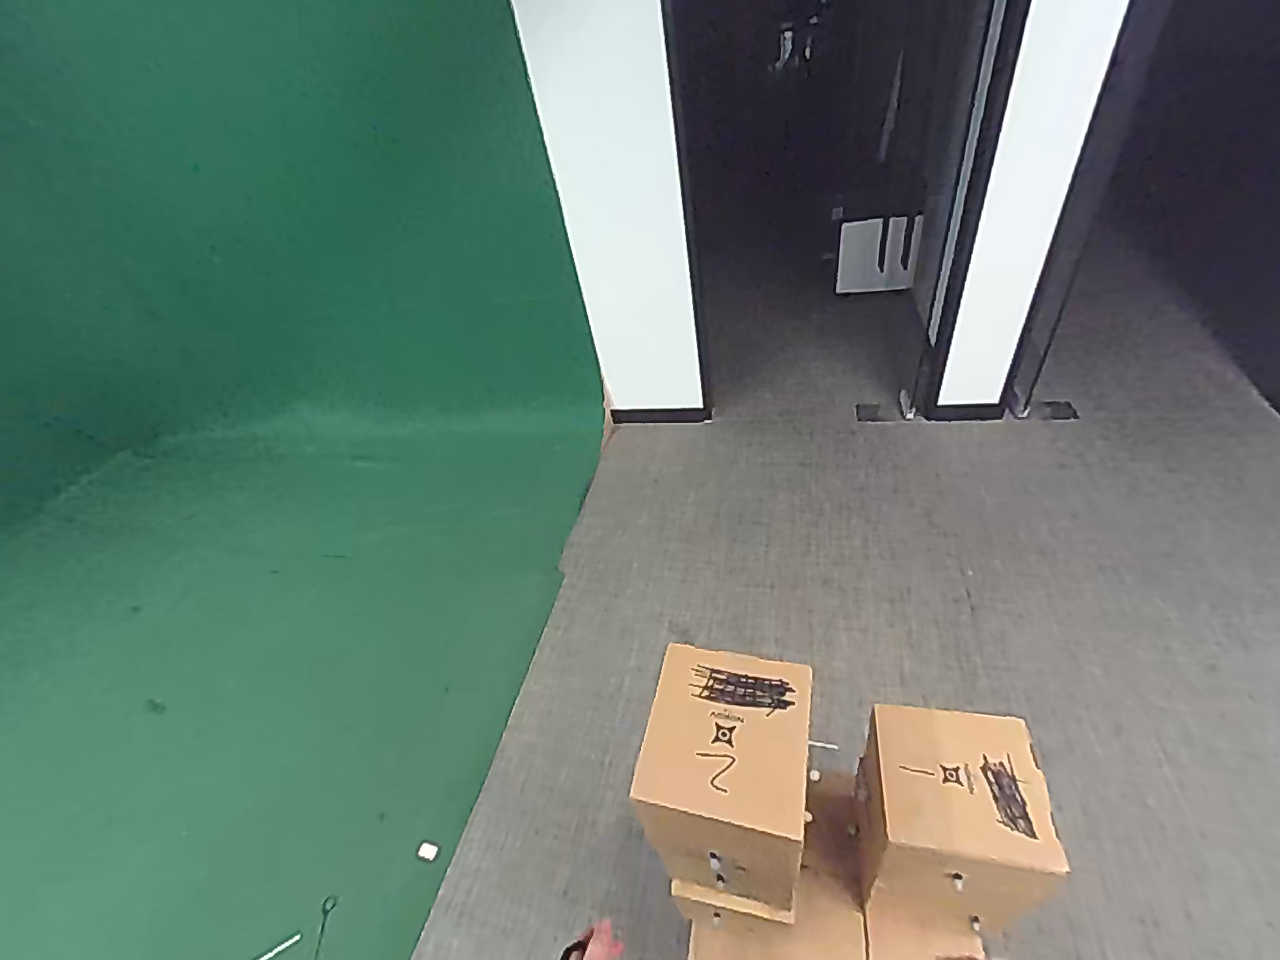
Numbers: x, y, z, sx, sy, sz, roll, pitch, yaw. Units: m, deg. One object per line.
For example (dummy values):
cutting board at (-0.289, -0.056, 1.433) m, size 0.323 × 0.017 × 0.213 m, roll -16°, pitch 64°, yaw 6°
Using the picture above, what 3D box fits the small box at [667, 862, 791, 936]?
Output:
small box at (0.147, 0.562, 0.829) m, size 0.168 × 0.176 × 0.179 m, roll 3°, pitch 43°, yaw 16°

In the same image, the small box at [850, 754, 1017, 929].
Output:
small box at (0.414, 0.533, 0.798) m, size 0.179 × 0.176 × 0.168 m, roll 0°, pitch 42°, yaw 16°

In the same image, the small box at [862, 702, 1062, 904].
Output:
small box at (0.388, 0.412, 0.690) m, size 0.179 × 0.176 × 0.168 m, roll 1°, pitch 42°, yaw 17°

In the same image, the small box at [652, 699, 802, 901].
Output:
small box at (0.125, 0.431, 0.730) m, size 0.168 × 0.176 × 0.179 m, roll 5°, pitch 44°, yaw 17°
